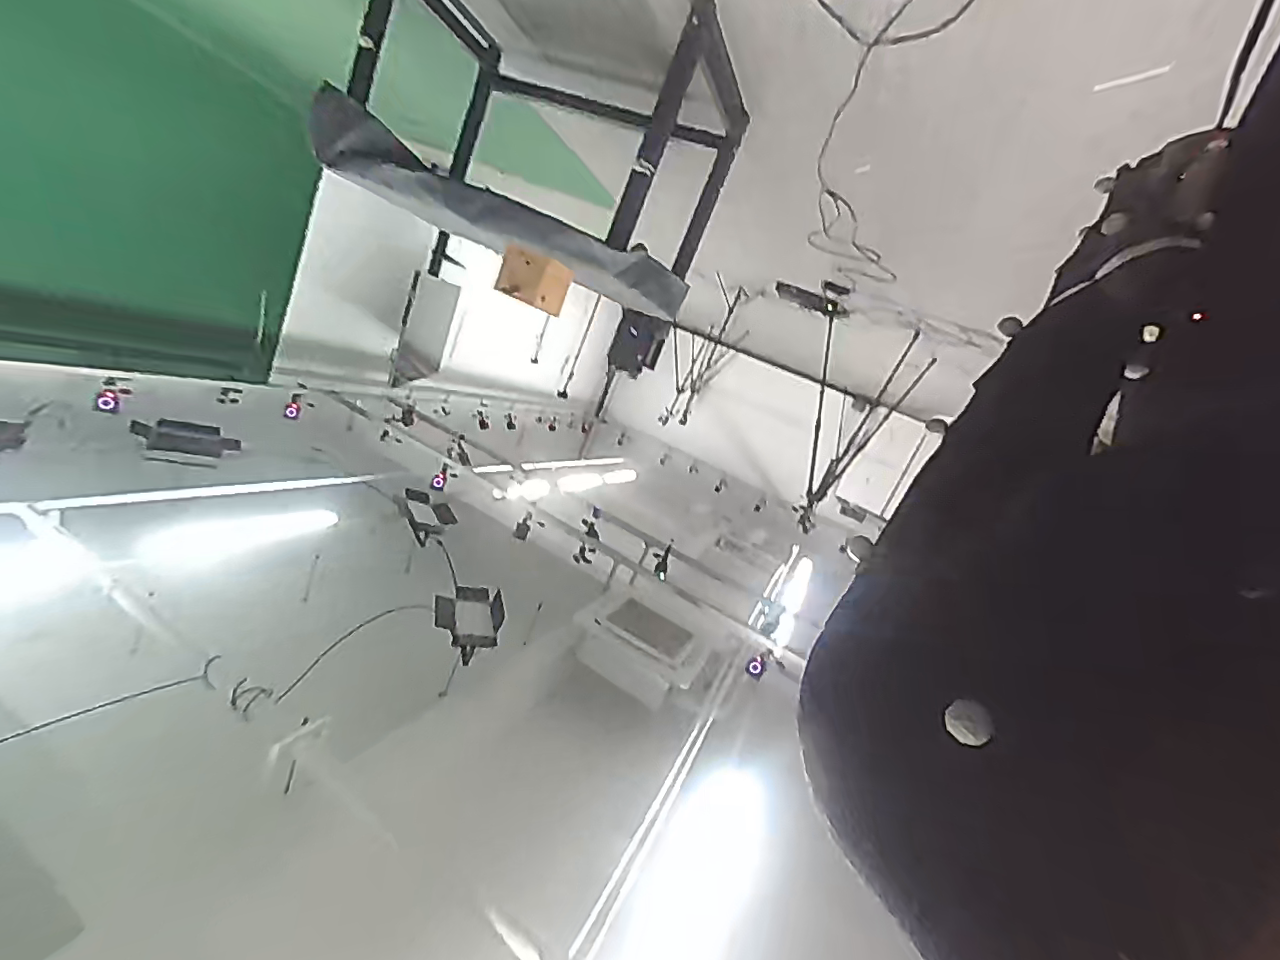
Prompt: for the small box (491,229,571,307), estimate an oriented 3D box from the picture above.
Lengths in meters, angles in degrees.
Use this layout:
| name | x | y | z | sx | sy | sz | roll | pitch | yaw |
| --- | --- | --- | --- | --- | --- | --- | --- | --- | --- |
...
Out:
| name | x | y | z | sx | sy | sz | roll | pitch | yaw |
| --- | --- | --- | --- | --- | --- | --- | --- | --- | --- |
| small box | -0.351 | -0.696 | 1.778 | 0.168 | 0.176 | 0.179 | 27 | -167 | 16 |
